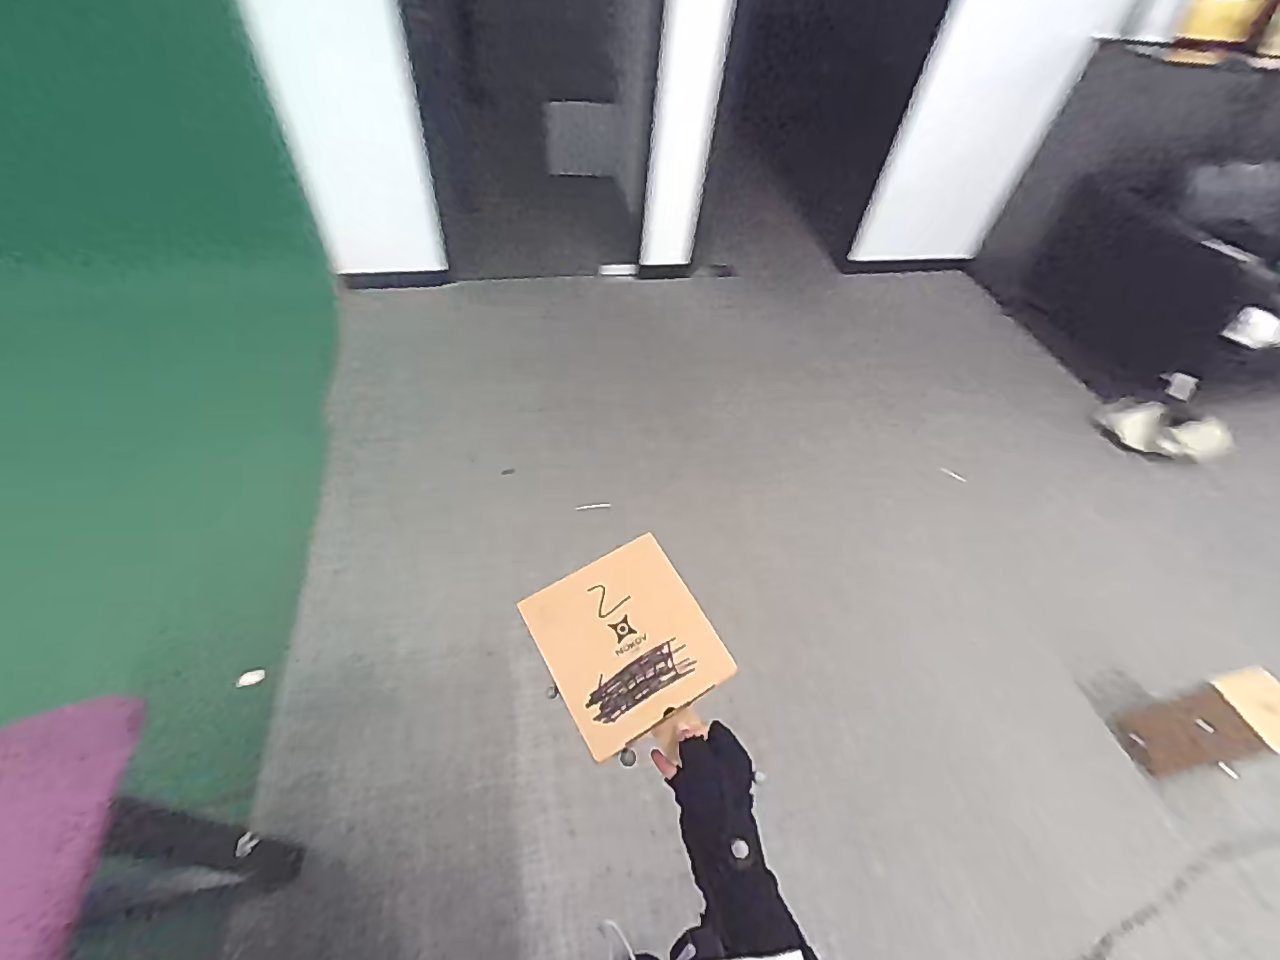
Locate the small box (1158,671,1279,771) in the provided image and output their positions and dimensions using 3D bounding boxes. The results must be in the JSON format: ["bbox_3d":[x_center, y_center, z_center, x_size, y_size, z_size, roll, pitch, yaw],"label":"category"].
[{"bbox_3d":[1.432,0.587,1.313,0.179,0.176,0.168,-6,50,-12],"label":"small box"}]

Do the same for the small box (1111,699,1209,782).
[{"bbox_3d":[1.435,0.690,1.443,0.179,0.176,0.168,-4,50,-10],"label":"small box"}]
